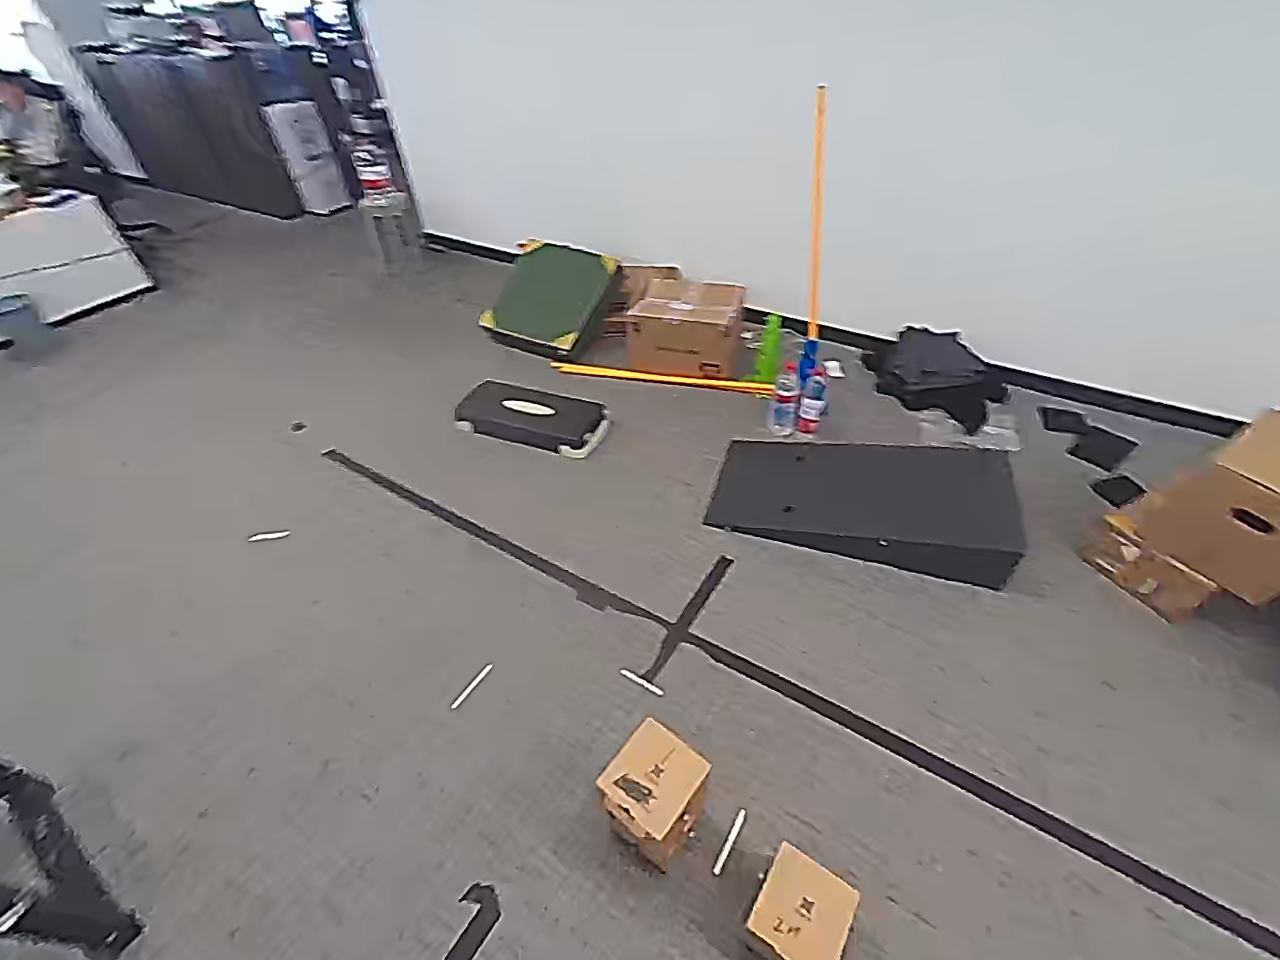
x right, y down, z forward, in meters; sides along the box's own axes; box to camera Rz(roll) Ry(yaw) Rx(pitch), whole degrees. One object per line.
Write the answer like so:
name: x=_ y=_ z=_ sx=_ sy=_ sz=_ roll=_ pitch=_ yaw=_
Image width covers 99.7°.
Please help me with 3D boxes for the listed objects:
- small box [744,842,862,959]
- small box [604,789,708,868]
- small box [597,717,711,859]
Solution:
small box: x=0.324 y=0.891 z=1.100 sx=0.168 sy=0.176 sz=0.179 roll=24 pitch=51 yaw=26
small box: x=0.039 y=0.759 z=1.251 sx=0.179 sy=0.176 sz=0.168 roll=26 pitch=51 yaw=25
small box: x=0.033 y=0.646 z=1.131 sx=0.168 sy=0.176 sz=0.179 roll=29 pitch=52 yaw=28
